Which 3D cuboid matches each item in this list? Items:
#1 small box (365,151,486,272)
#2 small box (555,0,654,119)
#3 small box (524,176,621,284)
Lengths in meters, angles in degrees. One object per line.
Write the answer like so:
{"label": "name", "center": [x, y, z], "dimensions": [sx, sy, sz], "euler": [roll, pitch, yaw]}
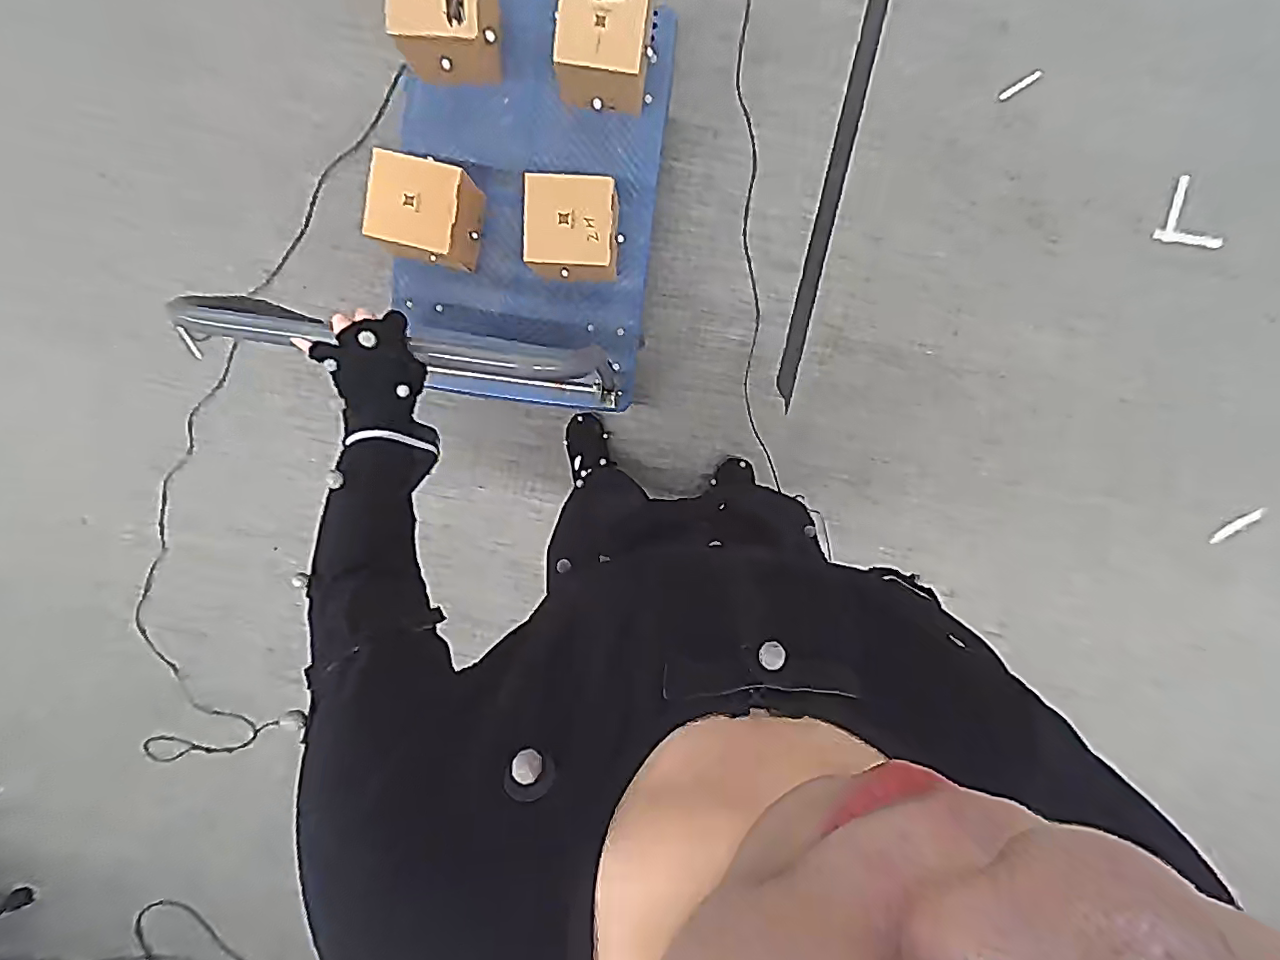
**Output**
{"label": "small box", "center": [-0.443, -0.554, 1.138], "dimensions": [0.179, 0.176, 0.168], "euler": [12, 99, -3]}
{"label": "small box", "center": [-0.066, -0.867, 1.081], "dimensions": [0.168, 0.176, 0.179], "euler": [9, 100, 0]}
{"label": "small box", "center": [-0.137, -0.517, 1.139], "dimensions": [0.179, 0.176, 0.168], "euler": [3, 99, 1]}
